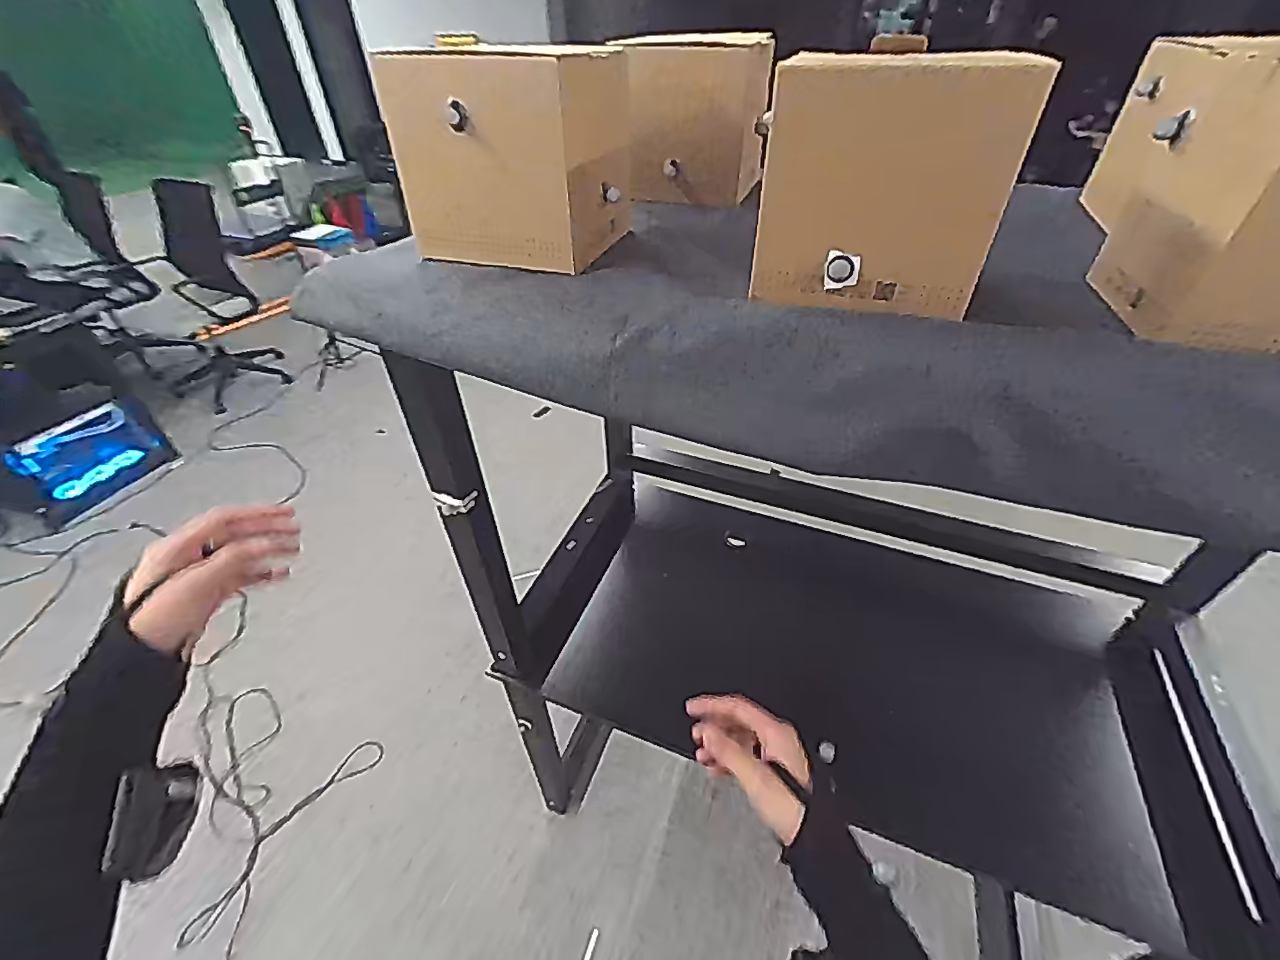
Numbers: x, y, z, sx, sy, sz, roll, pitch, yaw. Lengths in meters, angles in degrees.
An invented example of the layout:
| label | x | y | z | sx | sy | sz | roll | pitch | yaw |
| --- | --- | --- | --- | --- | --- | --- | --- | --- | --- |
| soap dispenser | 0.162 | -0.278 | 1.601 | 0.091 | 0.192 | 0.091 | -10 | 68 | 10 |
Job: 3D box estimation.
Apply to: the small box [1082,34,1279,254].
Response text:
| label | x | y | z | sx | sy | sz | roll | pitch | yaw |
| --- | --- | --- | --- | --- | --- | --- | --- | --- | --- |
| small box | 0.607 | -0.348 | 0.560 | 0.168 | 0.176 | 0.179 | 13 | 43 | 16 |

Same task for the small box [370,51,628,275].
| label | x | y | z | sx | sy | sz | roll | pitch | yaw |
| --- | --- | --- | --- | --- | --- | --- | --- | --- | --- |
| small box | -0.119 | -0.315 | 0.535 | 0.179 | 0.176 | 0.168 | 12 | 41 | 13 |

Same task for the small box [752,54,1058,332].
| label | x | y | z | sx | sy | sz | roll | pitch | yaw |
| --- | --- | --- | --- | --- | --- | --- | --- | --- | --- |
| small box | 0.191 | -0.240 | 0.444 | 0.168 | 0.176 | 0.179 | 10 | 41 | 14 |

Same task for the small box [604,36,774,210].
| label | x | y | z | sx | sy | sz | roll | pitch | yaw |
| --- | --- | --- | --- | --- | --- | --- | --- | --- | --- |
| small box | 0.065 | -0.471 | 0.715 | 0.179 | 0.176 | 0.168 | 13 | 43 | 14 |
